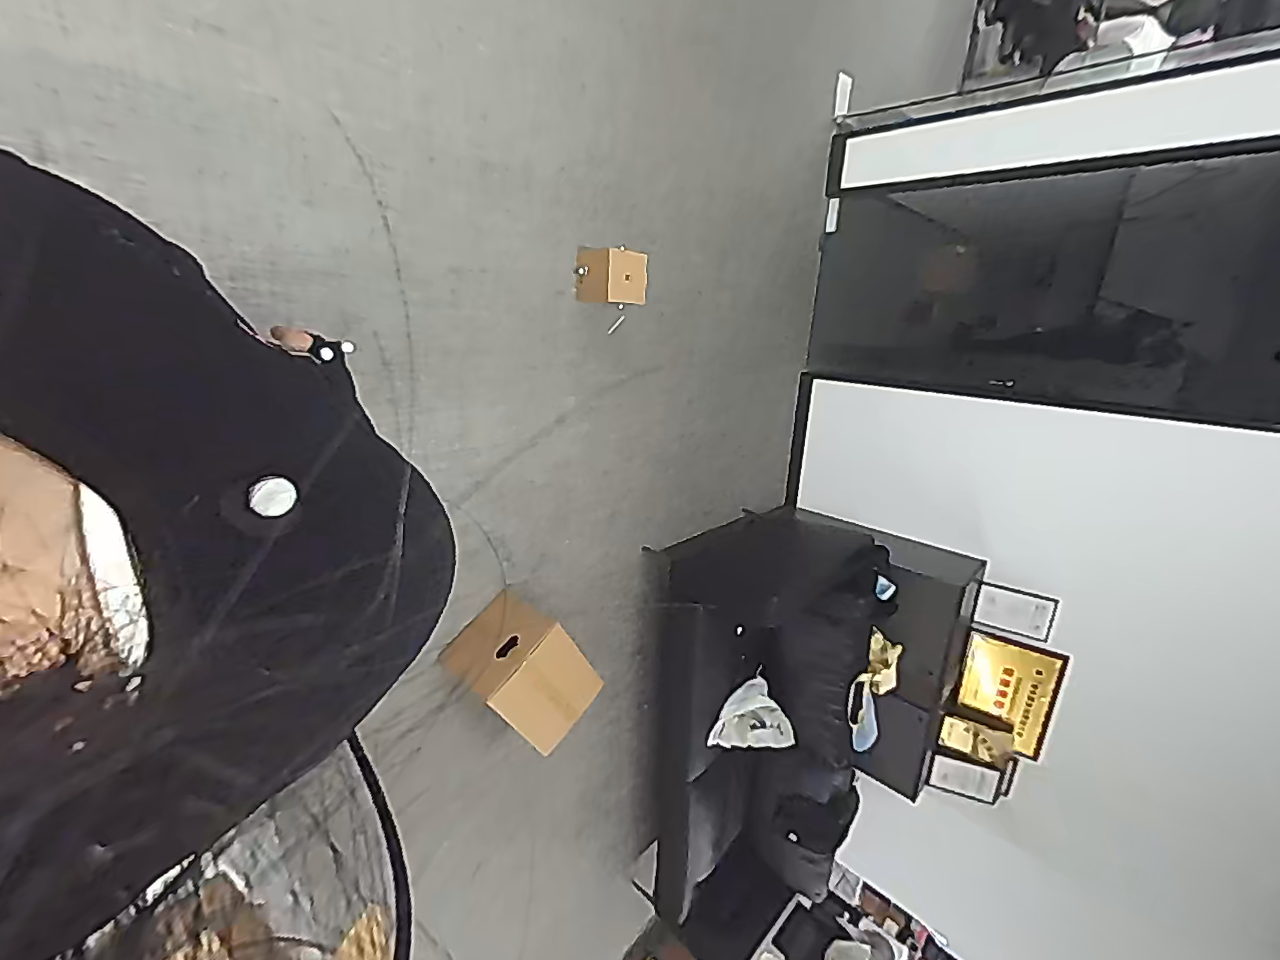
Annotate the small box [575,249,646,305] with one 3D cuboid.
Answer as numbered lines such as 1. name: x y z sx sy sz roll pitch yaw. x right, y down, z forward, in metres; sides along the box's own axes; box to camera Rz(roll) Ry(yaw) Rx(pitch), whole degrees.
1. small box: -0.102 -0.692 1.849 0.179 0.176 0.168 -14 113 -43
